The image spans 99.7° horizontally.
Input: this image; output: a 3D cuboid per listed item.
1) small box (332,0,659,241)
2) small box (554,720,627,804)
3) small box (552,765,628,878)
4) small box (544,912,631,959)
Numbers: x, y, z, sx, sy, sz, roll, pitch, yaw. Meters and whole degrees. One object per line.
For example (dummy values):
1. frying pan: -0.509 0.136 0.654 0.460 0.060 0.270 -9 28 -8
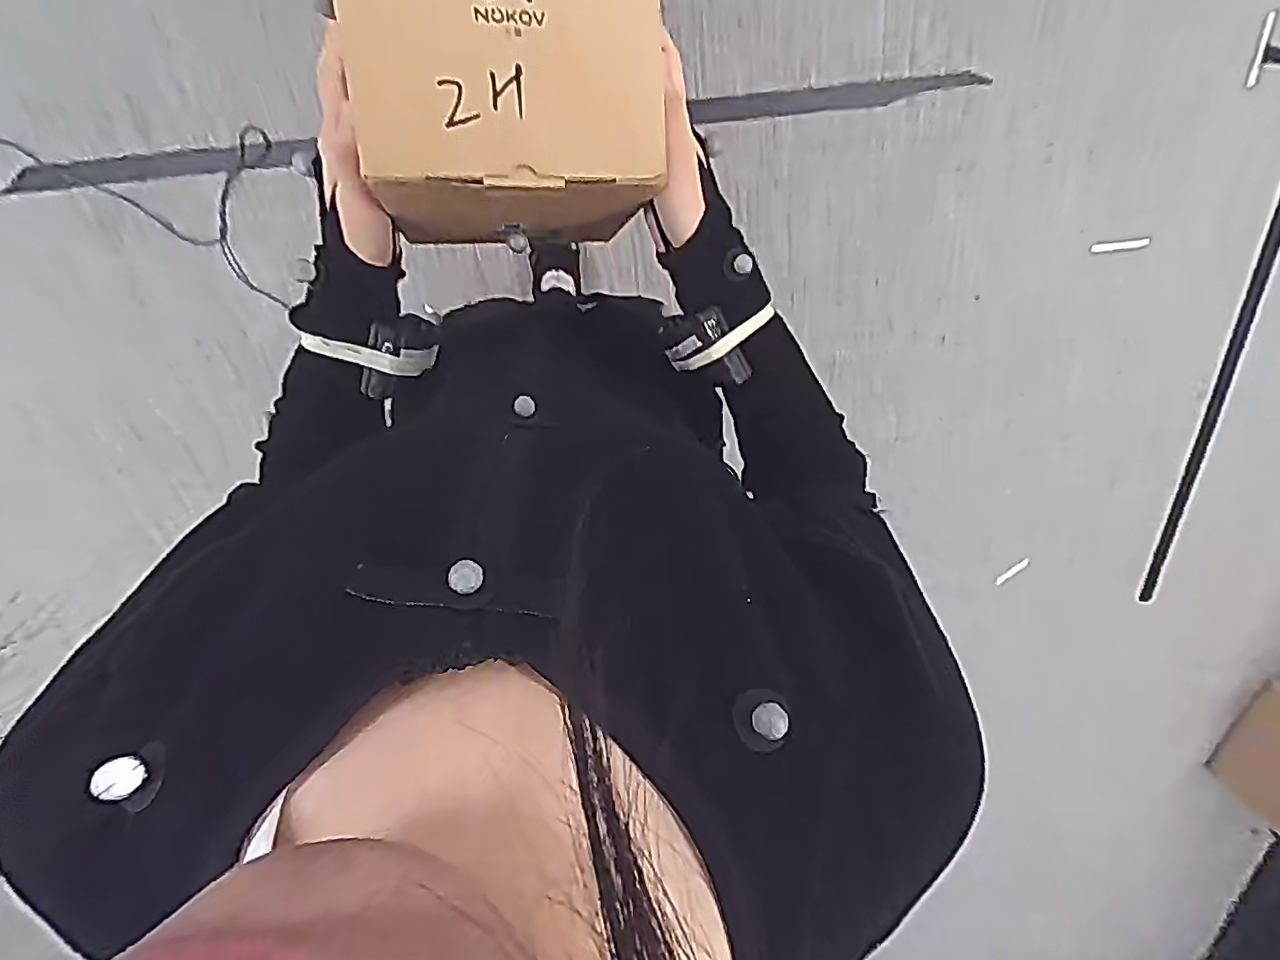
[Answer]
1. small box: -0.091 -0.269 0.350 0.168 0.176 0.179 -5 103 -14
2. small box: -0.137 0.800 1.517 0.179 0.176 0.168 -8 114 0
3. small box: -0.122 0.858 1.366 0.168 0.176 0.179 -8 113 -1
4. small box: -0.100 0.988 1.065 0.168 0.176 0.179 -6 114 -2
